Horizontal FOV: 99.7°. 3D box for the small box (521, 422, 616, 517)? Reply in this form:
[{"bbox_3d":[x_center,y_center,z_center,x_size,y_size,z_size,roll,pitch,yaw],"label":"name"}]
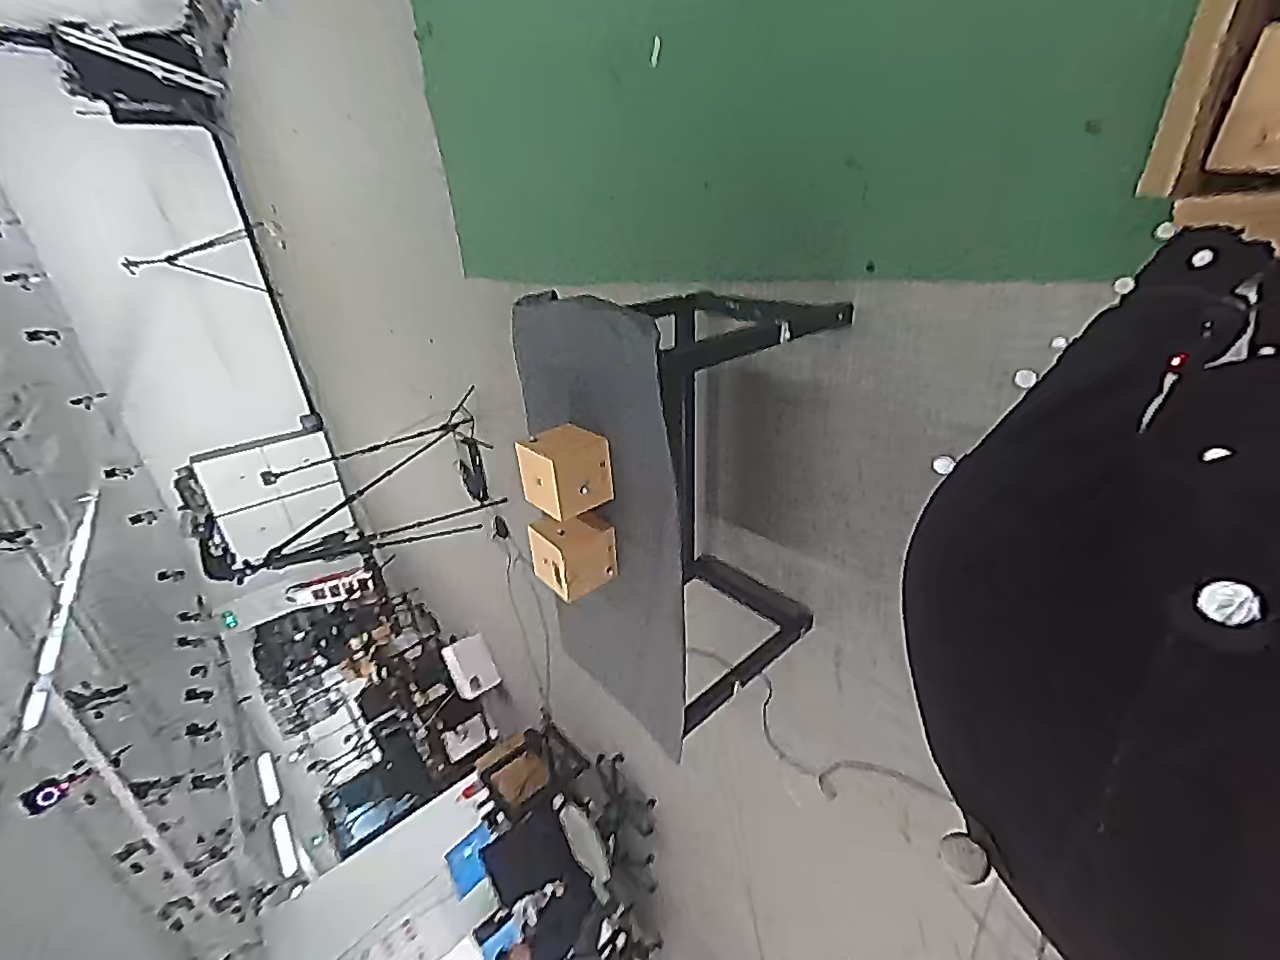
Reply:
[{"bbox_3d":[-0.172,-0.035,1.366,0.179,0.176,0.168,24,128,45],"label":"small box"}]

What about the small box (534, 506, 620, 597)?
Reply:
[{"bbox_3d":[-0.165,0.182,1.486,0.179,0.176,0.168,27,130,44],"label":"small box"}]
